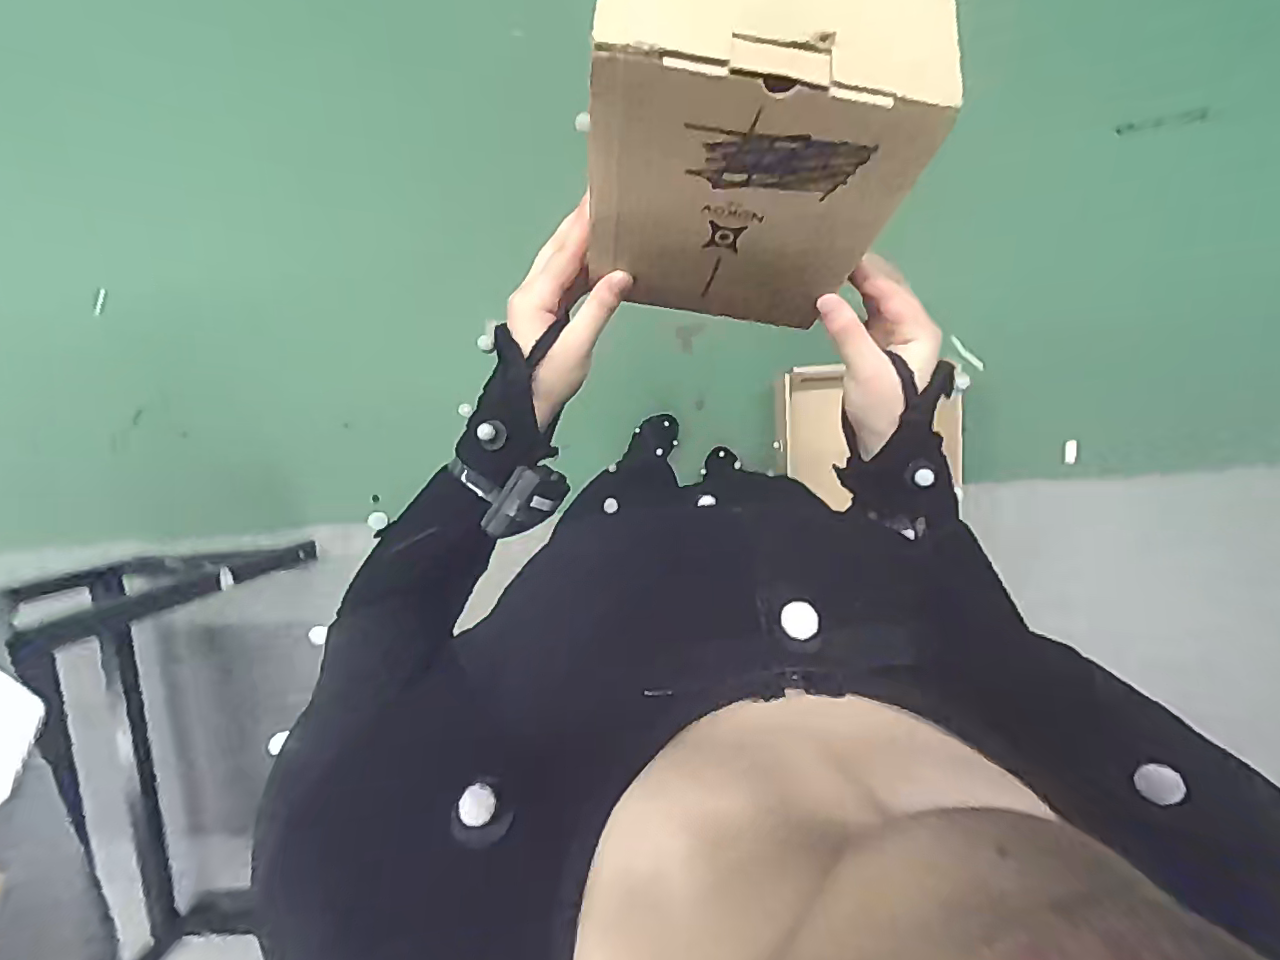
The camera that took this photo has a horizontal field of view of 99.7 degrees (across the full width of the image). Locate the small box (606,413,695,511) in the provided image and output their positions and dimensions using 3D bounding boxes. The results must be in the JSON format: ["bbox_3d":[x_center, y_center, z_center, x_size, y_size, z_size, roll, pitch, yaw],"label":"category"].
[{"bbox_3d":[0.025,-0.047,1.370,0.179,0.168,0.176,-16,124,-18],"label":"small box"}]
